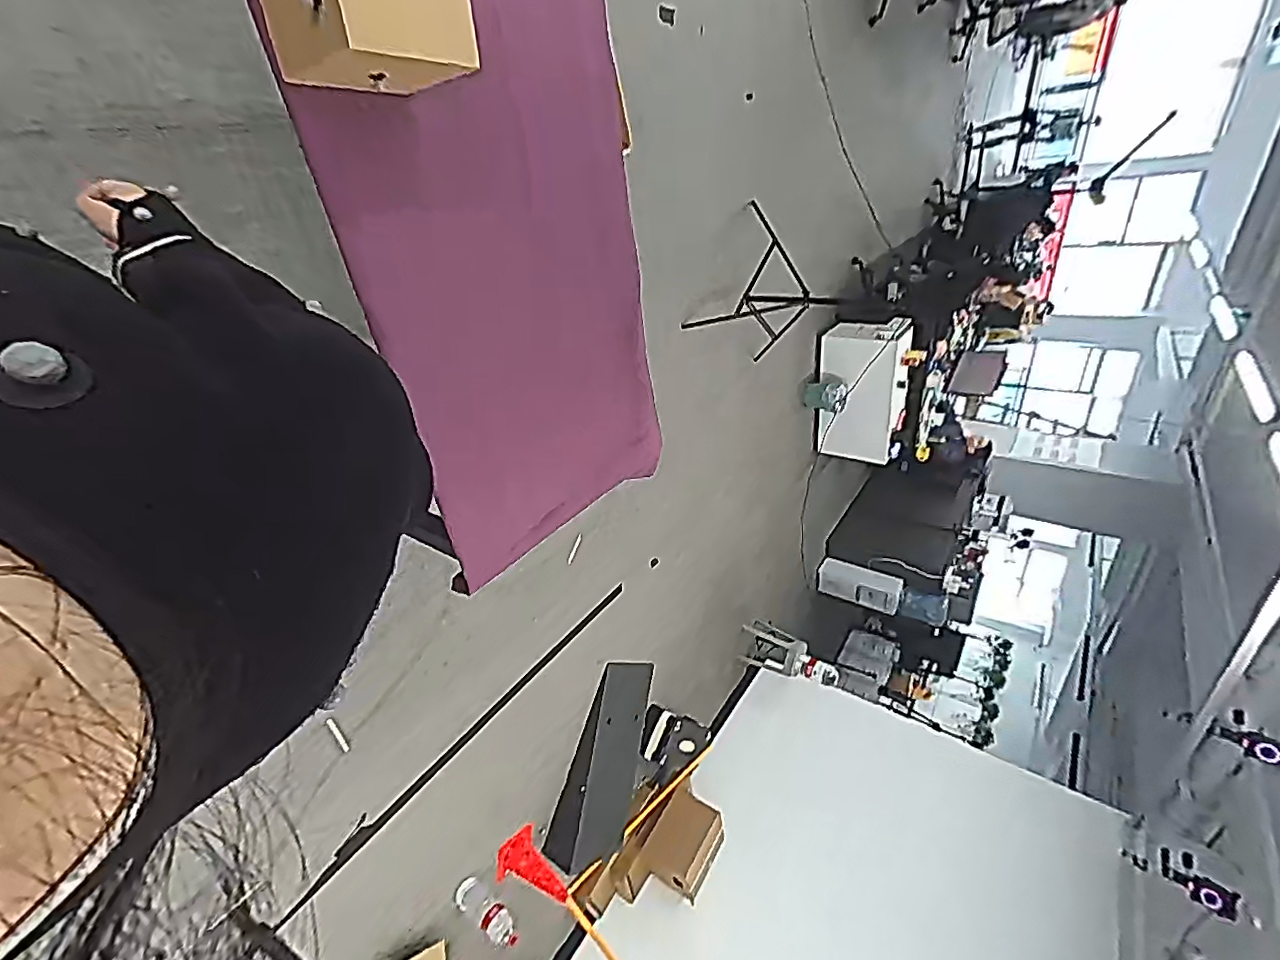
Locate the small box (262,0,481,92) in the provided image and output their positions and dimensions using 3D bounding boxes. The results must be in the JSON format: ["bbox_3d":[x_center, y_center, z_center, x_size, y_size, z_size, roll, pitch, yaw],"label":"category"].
[{"bbox_3d":[-0.312,-0.562,0.611,0.168,0.176,0.179,-34,128,-44],"label":"small box"}]
